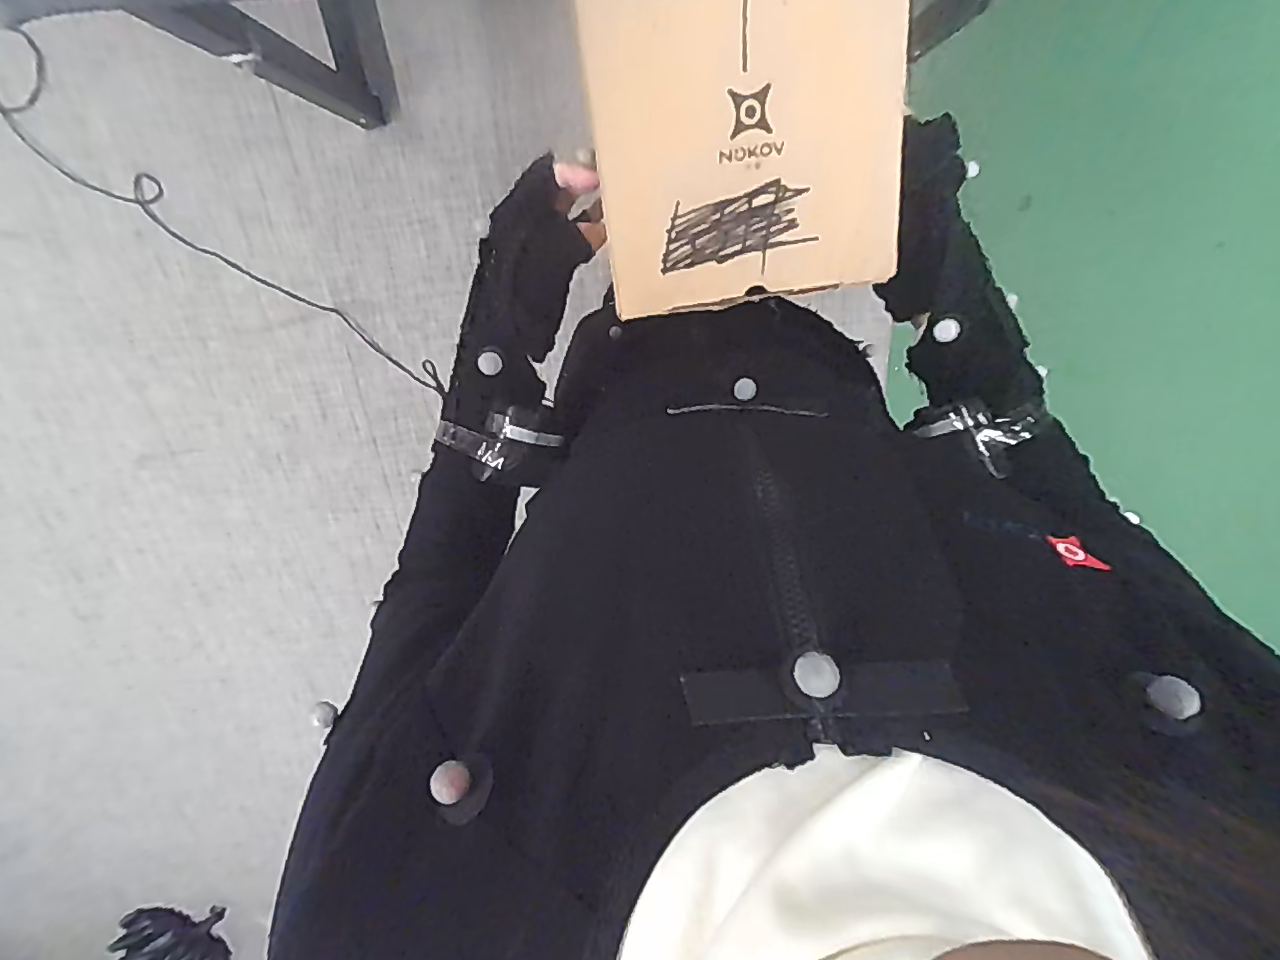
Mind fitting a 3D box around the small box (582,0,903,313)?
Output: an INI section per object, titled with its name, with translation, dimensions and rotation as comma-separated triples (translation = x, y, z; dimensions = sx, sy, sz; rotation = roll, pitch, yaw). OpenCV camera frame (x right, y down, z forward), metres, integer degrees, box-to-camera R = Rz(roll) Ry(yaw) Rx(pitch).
[small box]
translation = 0.056, -0.222, 0.373
dimensions = 0.168, 0.176, 0.179
rotation = -6, 113, 1
